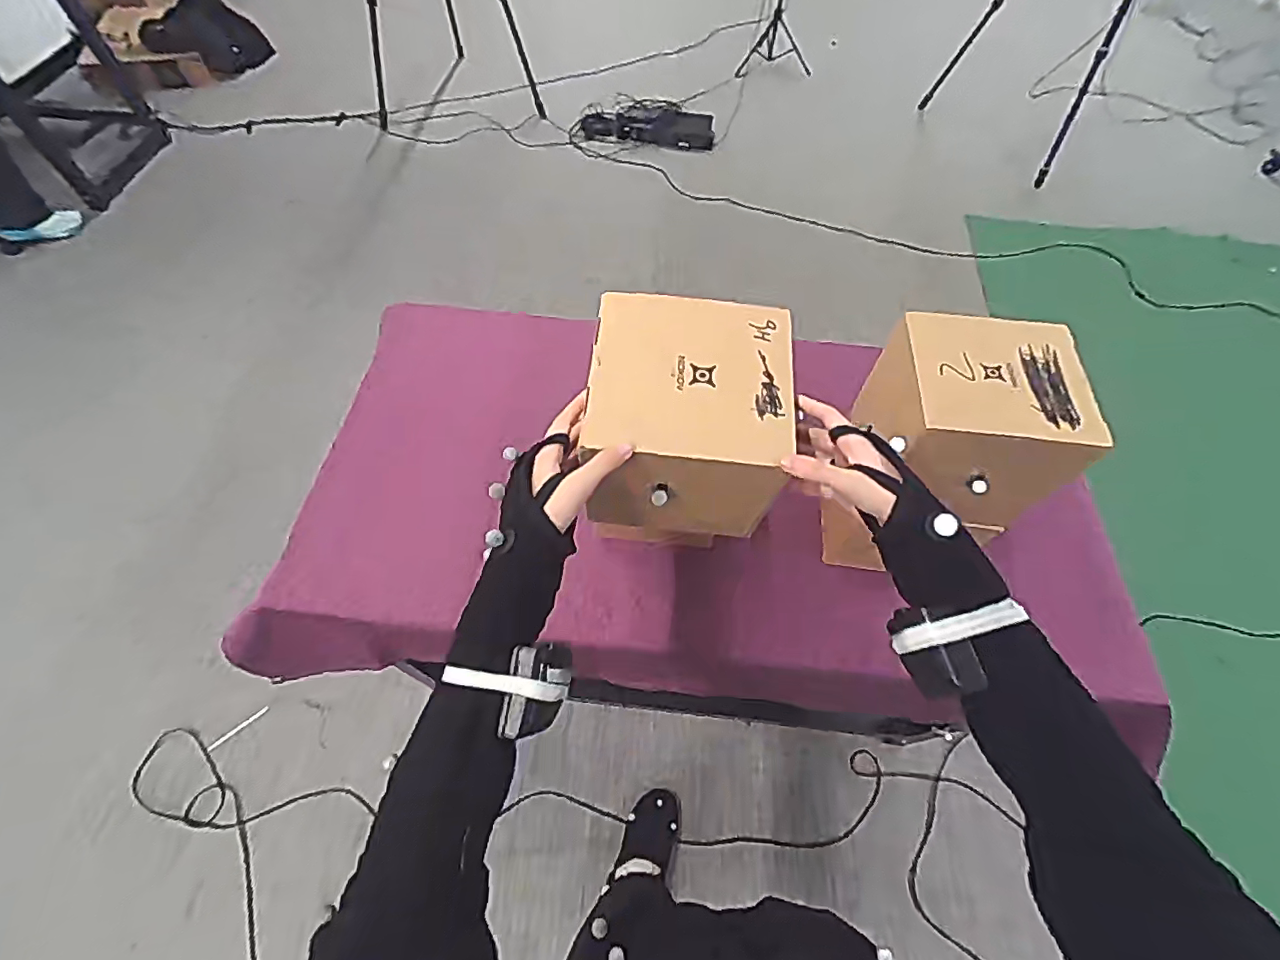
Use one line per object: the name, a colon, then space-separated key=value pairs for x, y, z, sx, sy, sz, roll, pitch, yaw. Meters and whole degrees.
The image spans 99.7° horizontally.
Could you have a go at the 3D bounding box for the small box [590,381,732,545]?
small box: x=0.030 y=-0.018 z=0.777 sx=0.179 sy=0.176 sz=0.168 roll=6 pitch=57 yaw=2

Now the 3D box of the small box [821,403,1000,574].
small box: x=0.363 y=0.018 z=0.763 sx=0.168 sy=0.176 sz=0.179 roll=7 pitch=58 yaw=3
